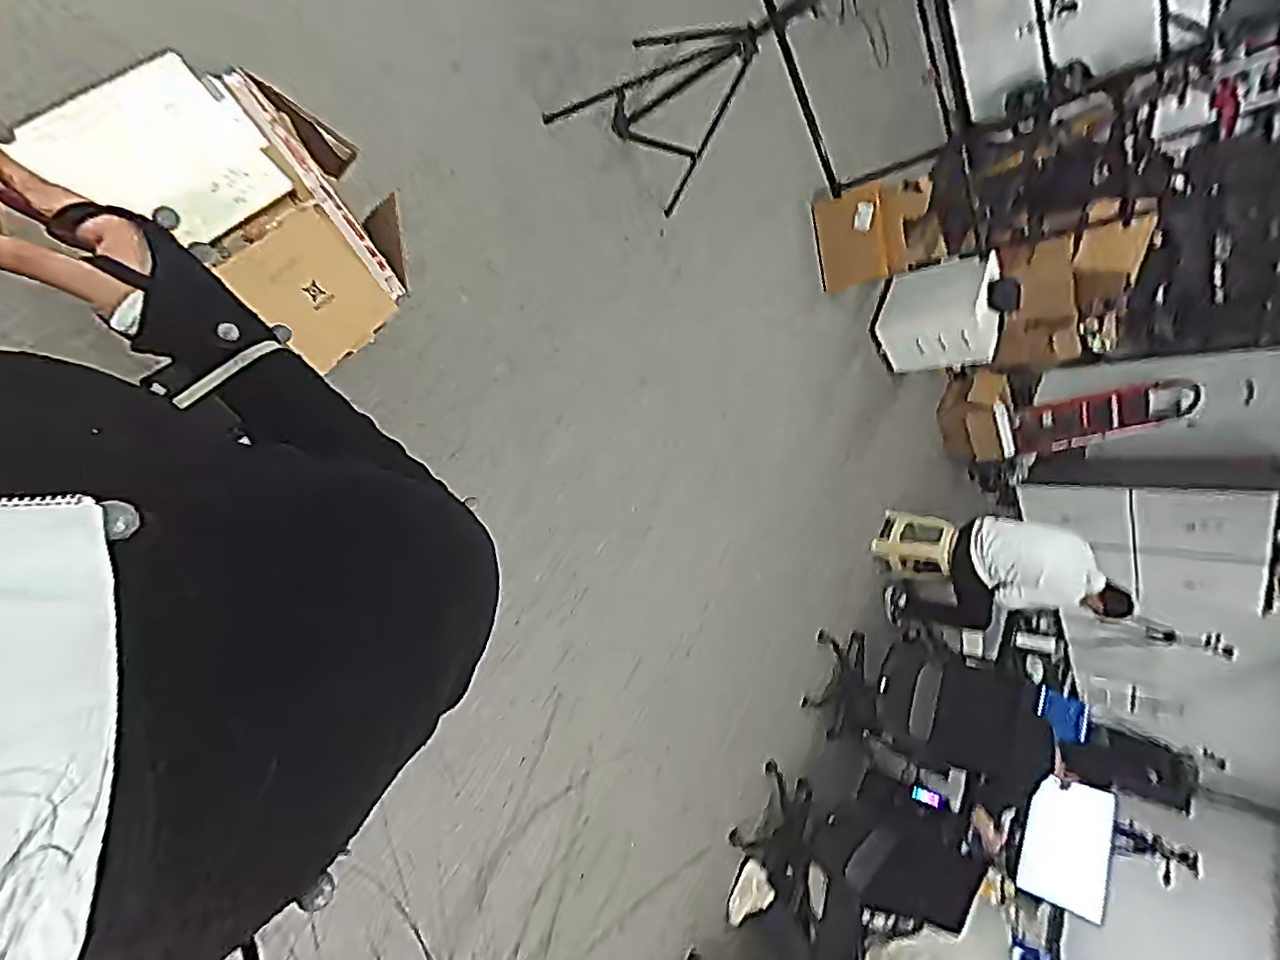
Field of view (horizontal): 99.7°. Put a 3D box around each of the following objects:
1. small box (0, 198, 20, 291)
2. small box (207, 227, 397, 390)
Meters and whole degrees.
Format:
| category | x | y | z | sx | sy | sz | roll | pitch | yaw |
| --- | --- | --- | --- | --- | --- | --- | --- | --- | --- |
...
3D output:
| category | x | y | z | sx | sy | sz | roll | pitch | yaw |
| --- | --- | --- | --- | --- | --- | --- | --- | --- | --- |
| small box | -0.510 | -0.208 | 0.316 | 0.168 | 0.176 | 0.179 | -16 | 115 | -43 |
| small box | -0.531 | -0.257 | 0.851 | 0.168 | 0.176 | 0.179 | -55 | 126 | -25 |
